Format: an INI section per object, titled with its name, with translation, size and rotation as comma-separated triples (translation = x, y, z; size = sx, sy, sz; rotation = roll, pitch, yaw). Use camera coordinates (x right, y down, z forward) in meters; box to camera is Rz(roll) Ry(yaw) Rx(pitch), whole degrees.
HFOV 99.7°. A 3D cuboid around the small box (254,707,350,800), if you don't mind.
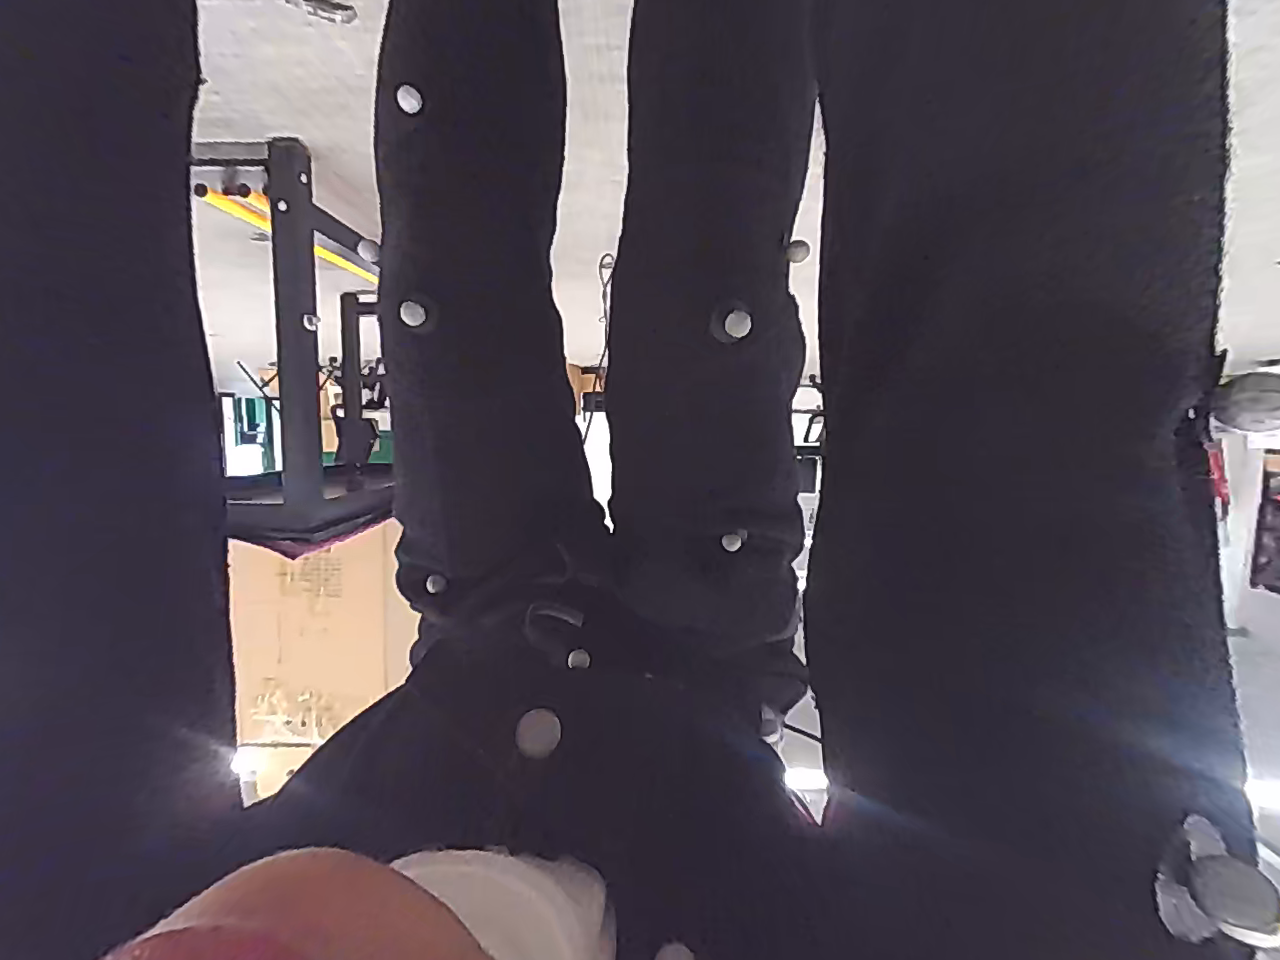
[small box]
translation = -0.957, 0.768, 1.533
size = 0.168, 0.176, 0.179
rotation = 2, -173, 5
